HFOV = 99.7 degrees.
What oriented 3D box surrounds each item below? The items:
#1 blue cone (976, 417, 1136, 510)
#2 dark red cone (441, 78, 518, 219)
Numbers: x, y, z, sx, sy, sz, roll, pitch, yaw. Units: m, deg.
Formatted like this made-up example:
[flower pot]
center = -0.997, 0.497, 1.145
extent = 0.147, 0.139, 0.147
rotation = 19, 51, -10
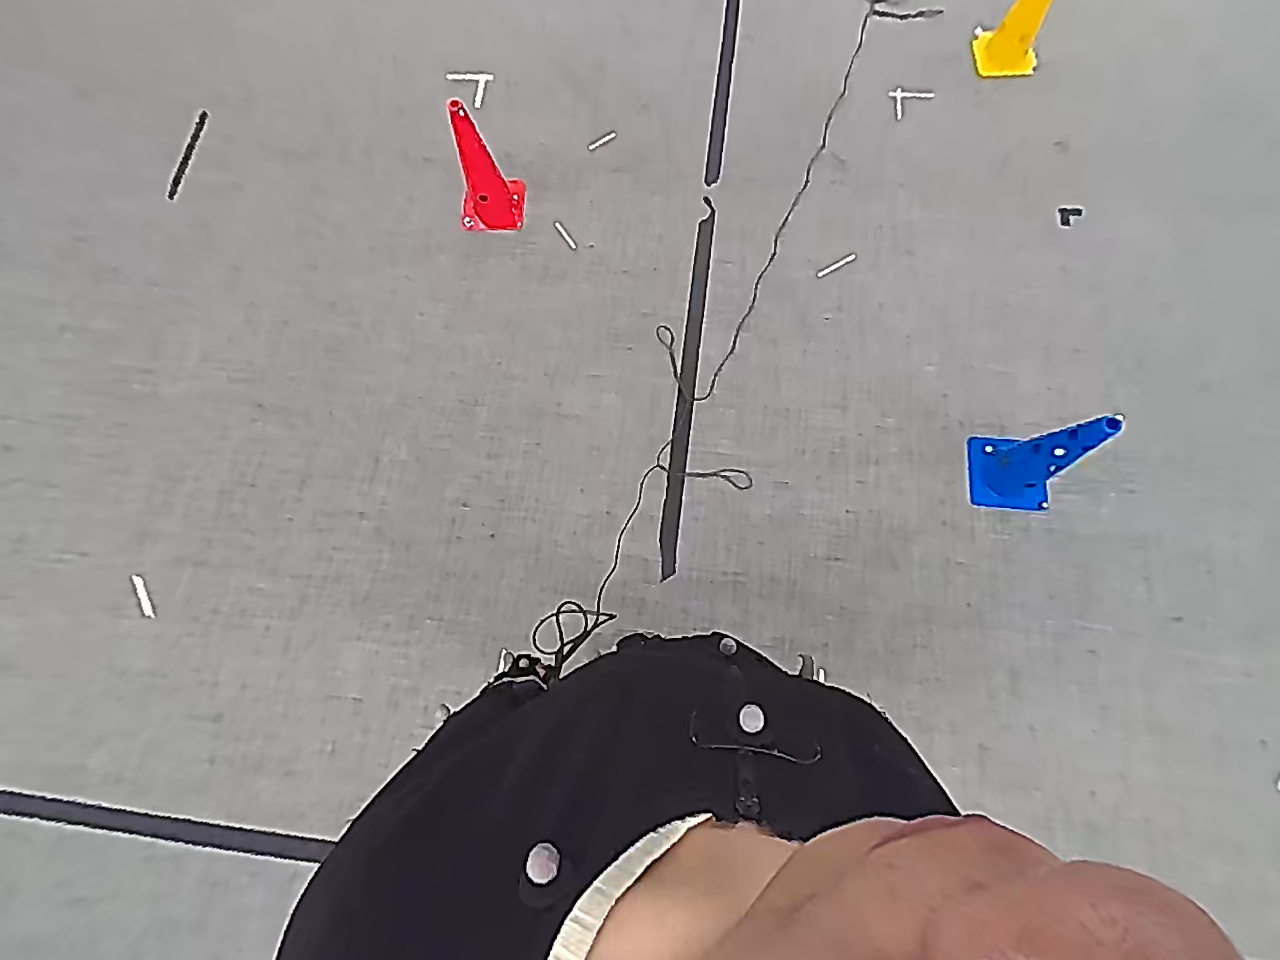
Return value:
[blue cone]
center = 0.992, -0.063, 1.286
extent = 0.192, 0.380, 0.193
rotation = 7, 74, 3
[dark red cone]
center = -0.494, -0.962, 1.574
extent = 0.201, 0.394, 0.202
rotation = -1, 74, 1
